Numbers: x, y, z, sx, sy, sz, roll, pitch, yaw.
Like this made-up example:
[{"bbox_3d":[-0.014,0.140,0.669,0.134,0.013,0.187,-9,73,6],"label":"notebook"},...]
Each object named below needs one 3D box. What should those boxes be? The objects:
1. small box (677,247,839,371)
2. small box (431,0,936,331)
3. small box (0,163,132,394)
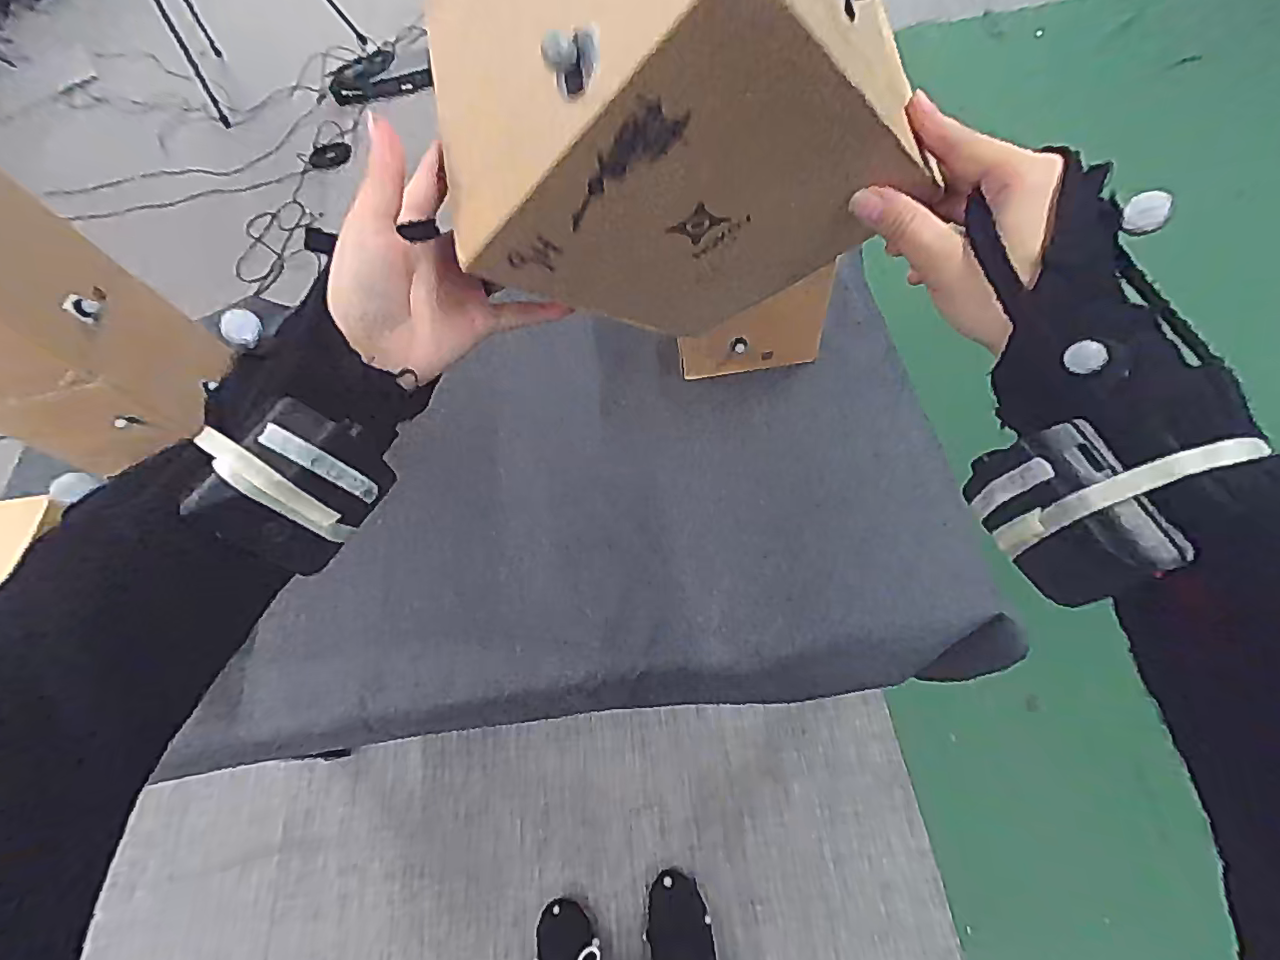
[{"bbox_3d":[0.118,-0.256,0.641,0.168,0.176,0.179,-8,65,5],"label":"small box"},{"bbox_3d":[0.018,-0.201,0.270,0.168,0.179,0.176,-21,75,42],"label":"small box"},{"bbox_3d":[-0.697,-0.202,0.556,0.179,0.176,0.168,-13,66,1],"label":"small box"}]
